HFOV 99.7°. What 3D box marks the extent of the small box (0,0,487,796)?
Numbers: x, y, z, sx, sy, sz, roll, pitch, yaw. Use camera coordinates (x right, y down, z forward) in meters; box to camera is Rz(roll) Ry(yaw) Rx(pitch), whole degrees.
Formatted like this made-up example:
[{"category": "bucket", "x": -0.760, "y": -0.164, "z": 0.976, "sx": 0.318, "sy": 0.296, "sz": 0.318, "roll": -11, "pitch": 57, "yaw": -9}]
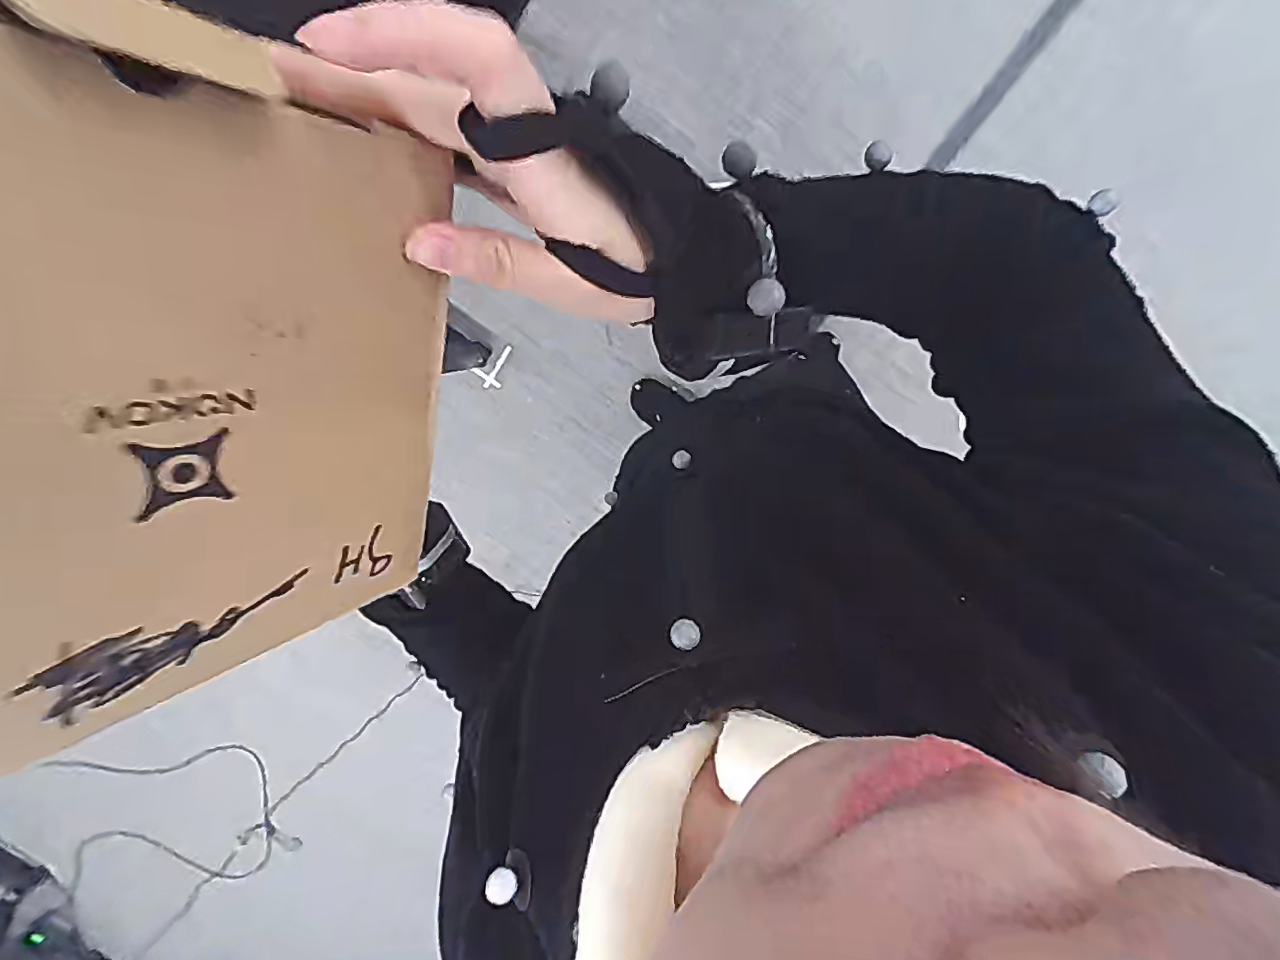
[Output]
[{"category": "small box", "x": -0.178, "y": -0.043, "z": 0.174, "sx": 0.176, "sy": 0.168, "sz": 0.179, "roll": 25, "pitch": 114, "yaw": 23}]
